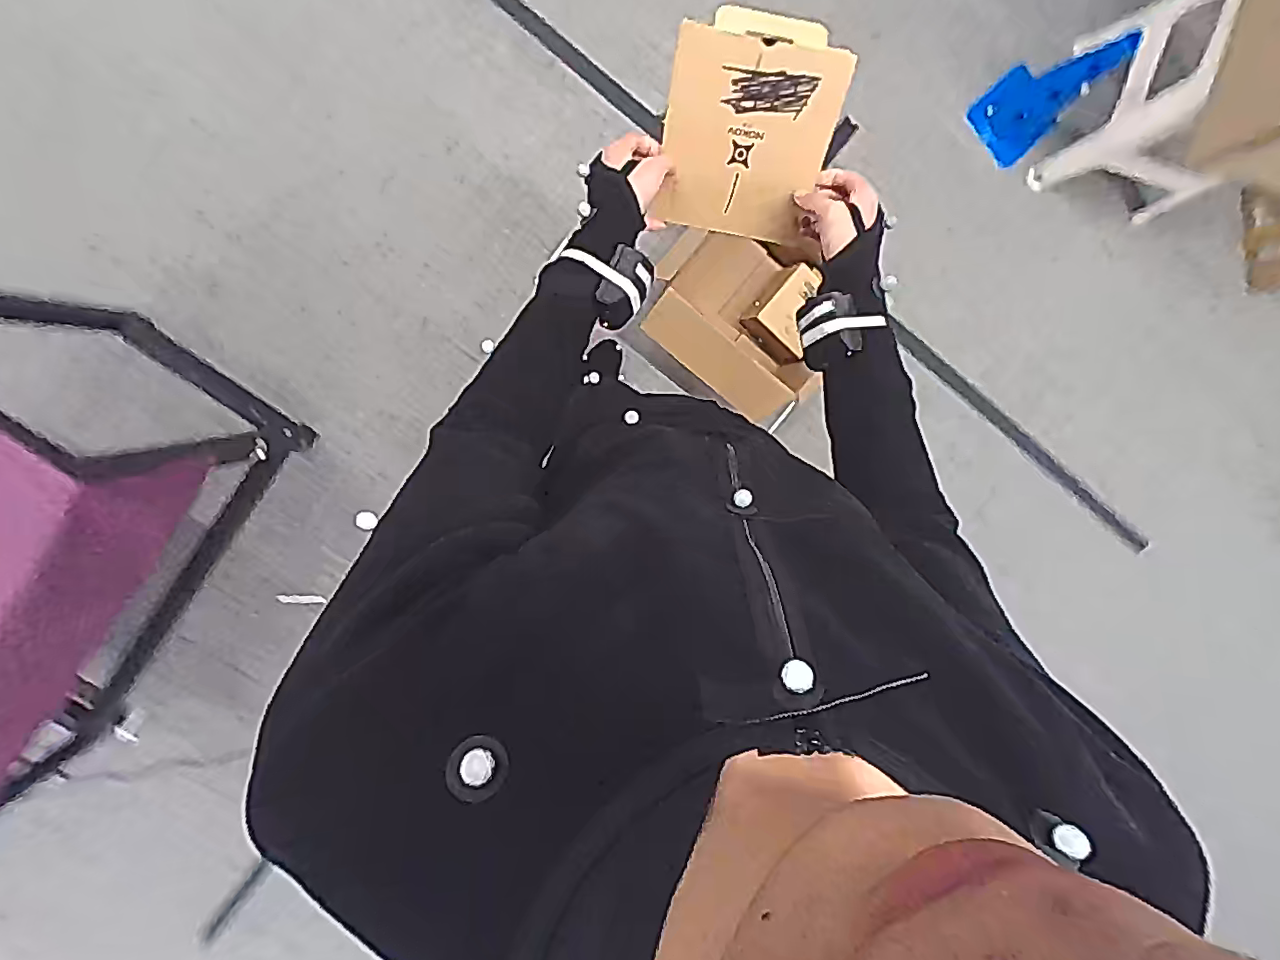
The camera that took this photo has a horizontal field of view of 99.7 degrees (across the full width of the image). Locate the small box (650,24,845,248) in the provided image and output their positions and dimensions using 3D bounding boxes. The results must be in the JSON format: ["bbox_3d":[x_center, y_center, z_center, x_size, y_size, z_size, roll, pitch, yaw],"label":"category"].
[{"bbox_3d":[0.109,-0.390,0.625,0.168,0.176,0.179,10,124,-1],"label":"small box"}]
